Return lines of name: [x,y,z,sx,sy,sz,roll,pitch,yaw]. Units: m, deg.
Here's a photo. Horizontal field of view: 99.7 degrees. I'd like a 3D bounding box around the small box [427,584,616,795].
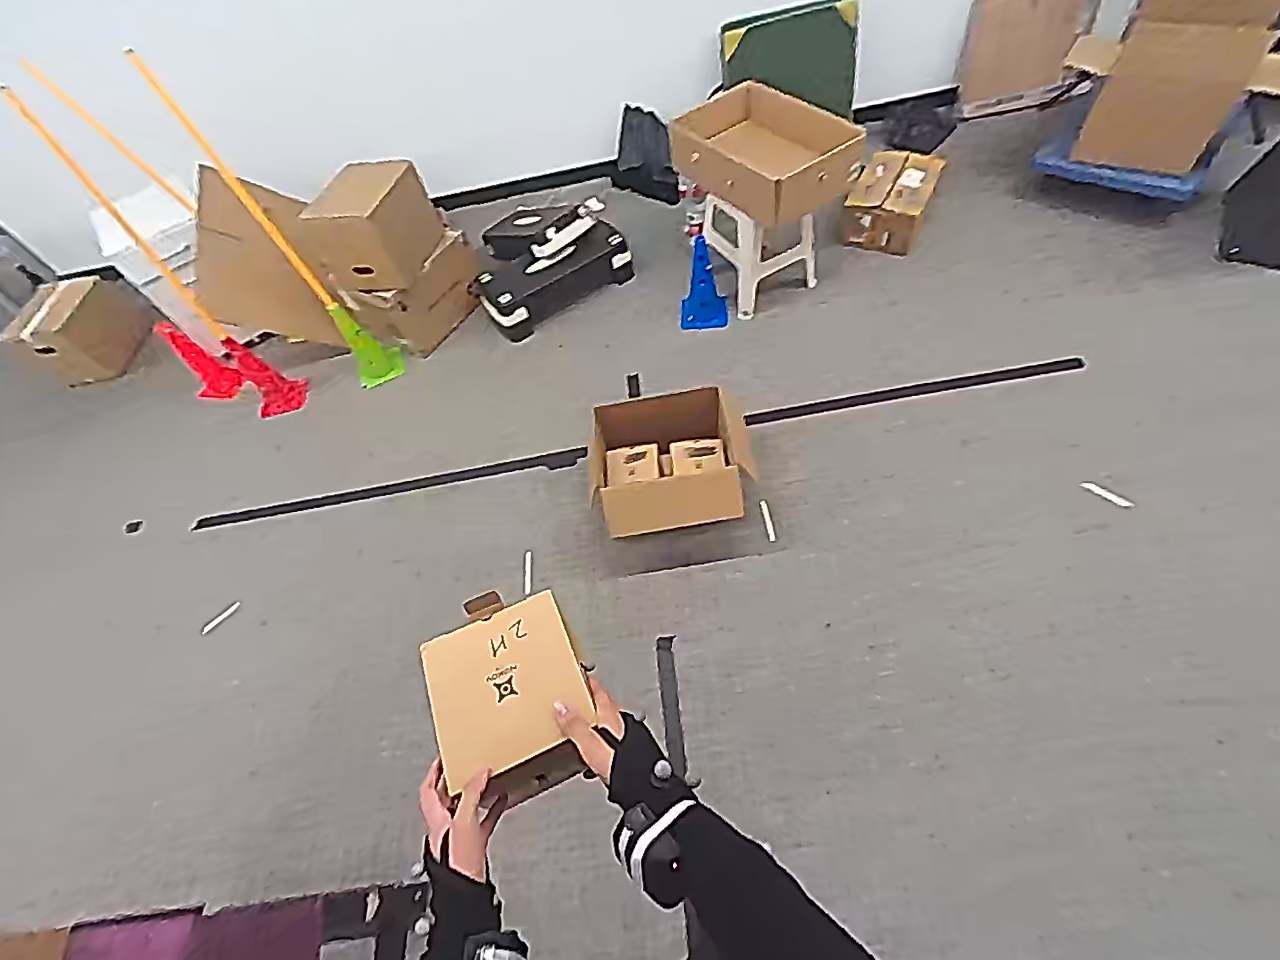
small box: [-0.138,0.263,0.665,0.168,0.176,0.179,-21,53,-10]
